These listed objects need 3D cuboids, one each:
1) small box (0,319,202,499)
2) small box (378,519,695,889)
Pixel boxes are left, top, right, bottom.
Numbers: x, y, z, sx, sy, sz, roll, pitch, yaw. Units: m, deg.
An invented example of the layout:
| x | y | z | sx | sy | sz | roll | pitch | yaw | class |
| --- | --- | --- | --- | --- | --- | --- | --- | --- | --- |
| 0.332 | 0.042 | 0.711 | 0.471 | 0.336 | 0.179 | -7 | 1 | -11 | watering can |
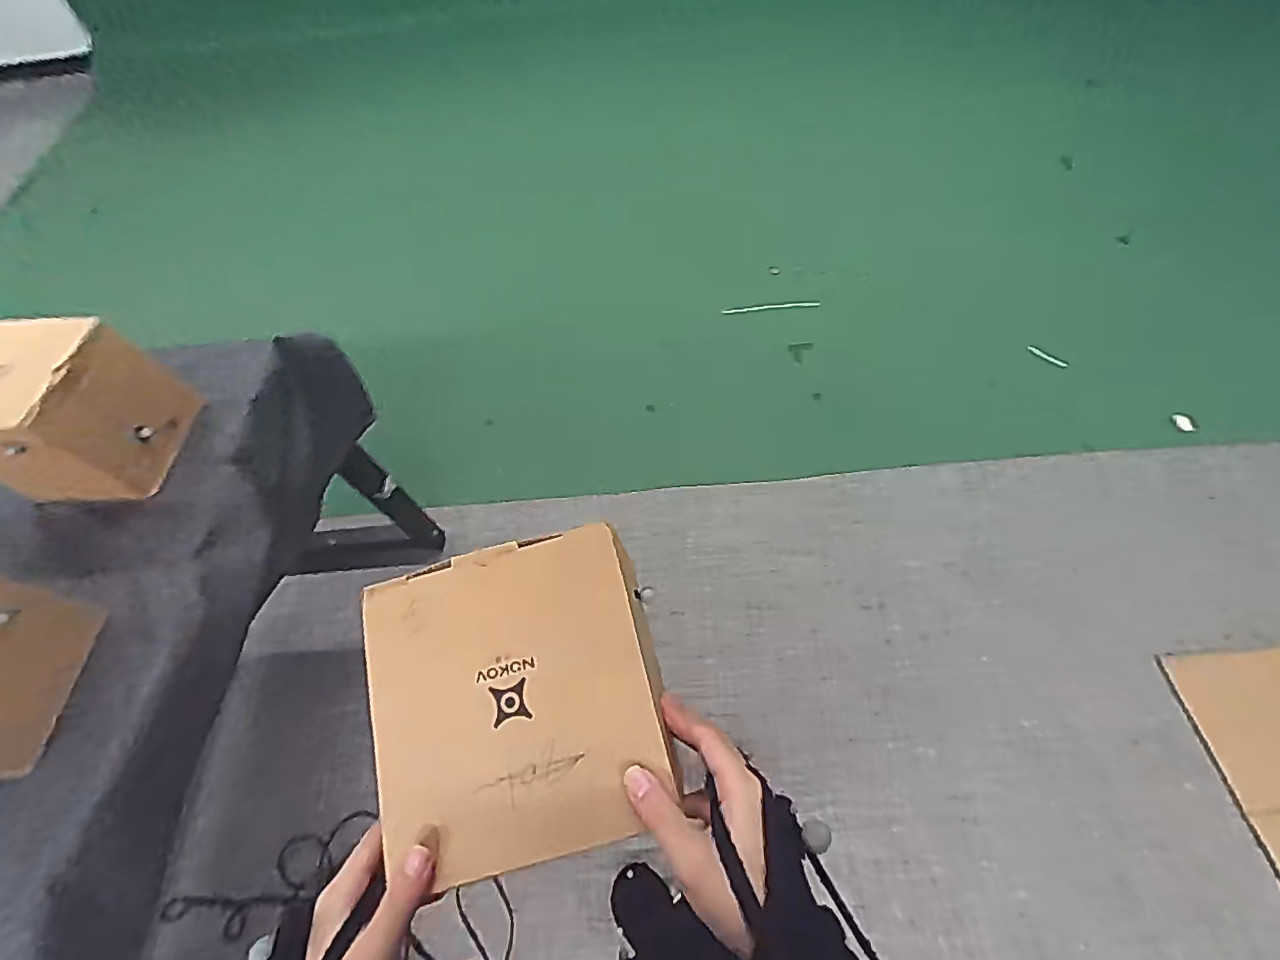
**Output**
| x | y | z | sx | sy | sz | roll | pitch | yaw | class |
| --- | --- | --- | --- | --- | --- | --- | --- | --- | --- |
| -0.735 | -0.083 | 0.696 | 0.179 | 0.176 | 0.168 | -1 | 60 | 4 | small box |
| -0.063 | 0.147 | 0.392 | 0.168 | 0.176 | 0.179 | -14 | 72 | 0 | small box |
